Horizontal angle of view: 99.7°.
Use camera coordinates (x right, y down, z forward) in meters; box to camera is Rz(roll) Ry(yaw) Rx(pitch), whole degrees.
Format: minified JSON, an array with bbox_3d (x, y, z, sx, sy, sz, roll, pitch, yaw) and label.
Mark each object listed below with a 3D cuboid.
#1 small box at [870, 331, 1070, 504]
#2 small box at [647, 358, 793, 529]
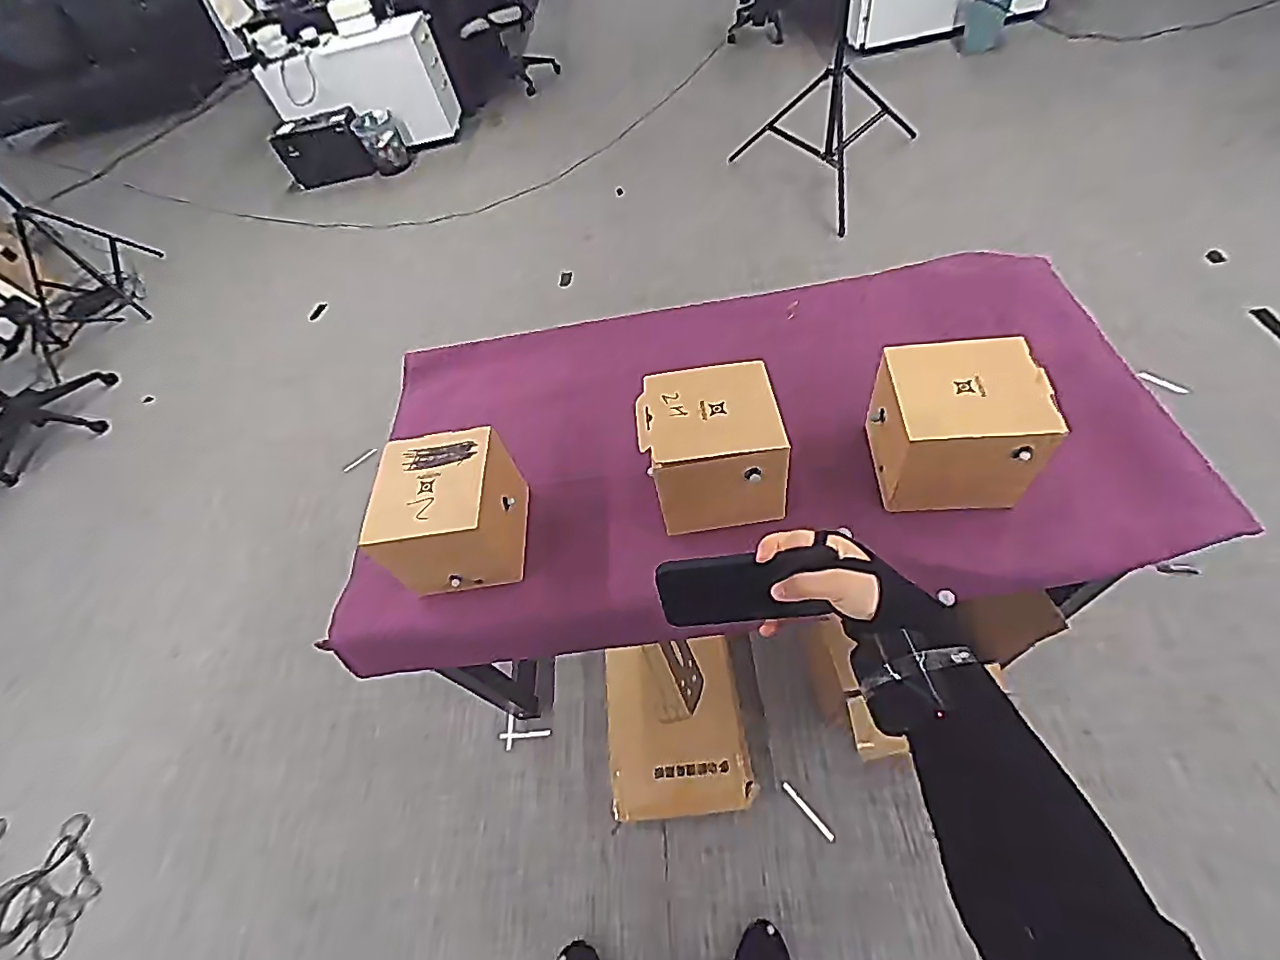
[{"bbox_3d":[0.425,-0.077,0.739,0.179,0.176,0.168,-3,55,9],"label":"small box"},{"bbox_3d":[0.112,-0.047,0.783,0.179,0.176,0.168,-9,52,5],"label":"small box"}]
